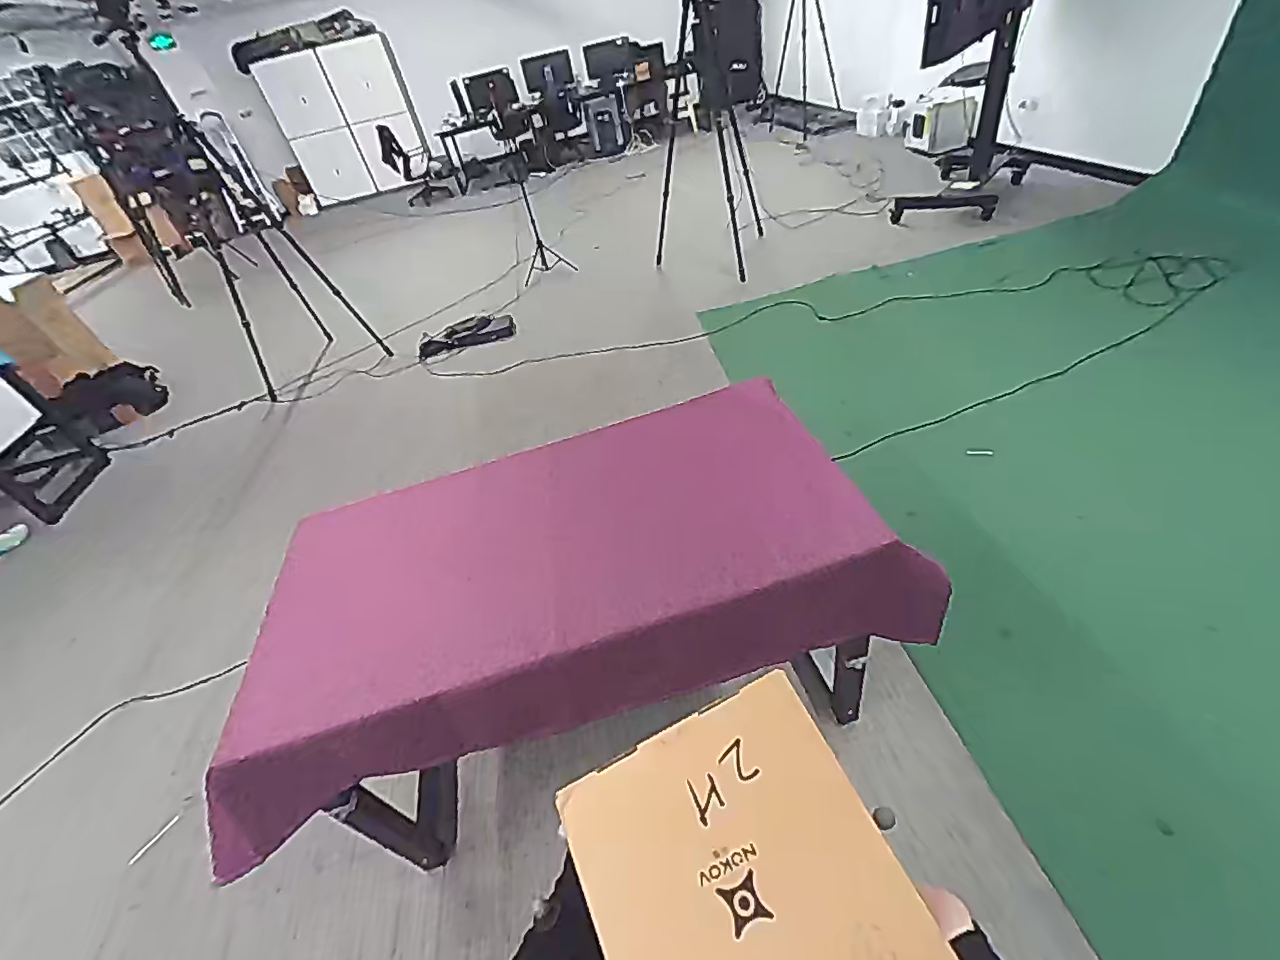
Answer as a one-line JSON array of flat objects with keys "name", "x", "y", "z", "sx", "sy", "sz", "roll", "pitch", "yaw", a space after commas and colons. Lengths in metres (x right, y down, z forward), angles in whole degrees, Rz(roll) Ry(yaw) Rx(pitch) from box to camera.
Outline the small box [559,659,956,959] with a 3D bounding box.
[{"name": "small box", "x": 0.072, "y": 0.254, "z": 0.373, "sx": 0.168, "sy": 0.176, "sz": 0.179, "roll": -28, "pitch": 57, "yaw": -2}]
